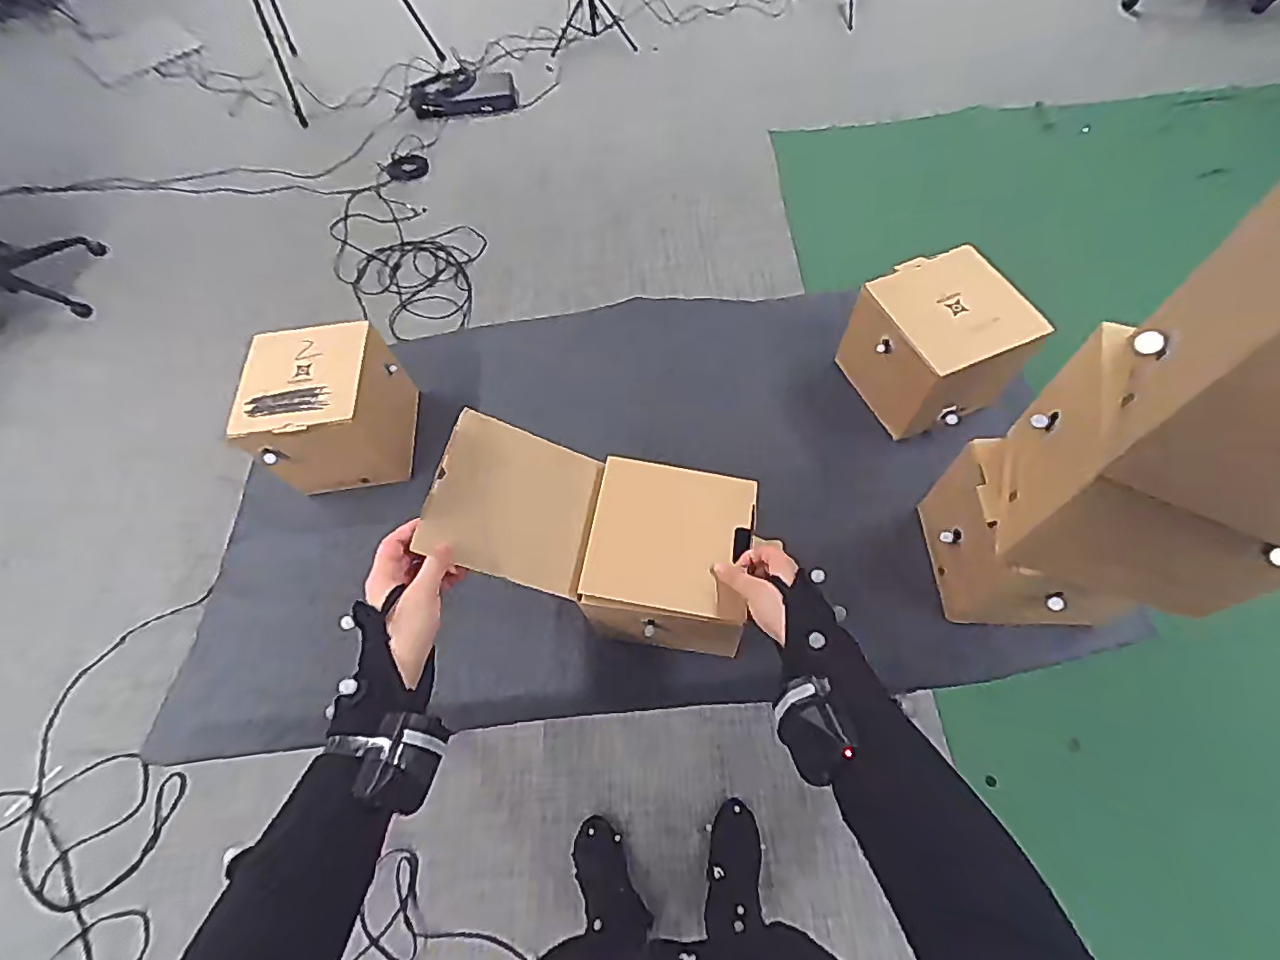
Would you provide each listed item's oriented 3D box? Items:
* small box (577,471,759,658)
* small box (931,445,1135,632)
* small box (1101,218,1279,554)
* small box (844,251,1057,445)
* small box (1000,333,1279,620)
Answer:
[{"bbox_3d":[0.040,0.107,0.647,0.179,0.176,0.168,6,64,9],"label":"small box"},{"bbox_3d":[0.464,0.073,0.629,0.179,0.176,0.168,-1,59,5],"label":"small box"},{"bbox_3d":[0.443,-0.060,0.327,0.179,0.176,0.168,28,65,20],"label":"small box"},{"bbox_3d":[0.419,-0.181,0.771,0.168,0.176,0.179,-22,64,-4],"label":"small box"},{"bbox_3d":[0.456,0.004,0.480,0.179,0.176,0.168,19,62,15],"label":"small box"}]
